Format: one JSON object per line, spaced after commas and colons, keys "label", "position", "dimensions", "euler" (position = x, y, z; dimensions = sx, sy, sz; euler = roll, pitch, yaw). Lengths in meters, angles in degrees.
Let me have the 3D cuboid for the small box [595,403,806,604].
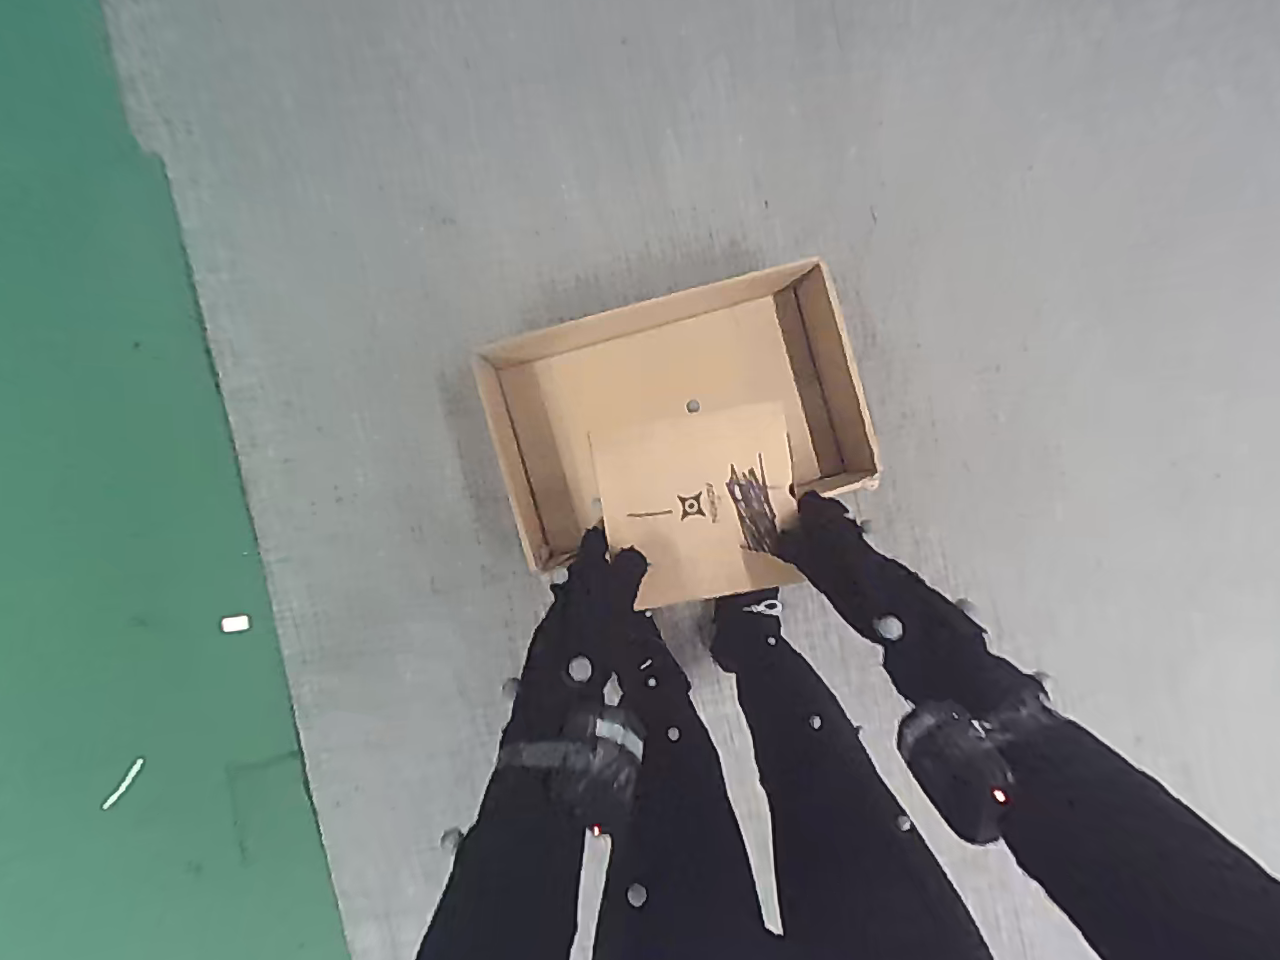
{"label": "small box", "position": [0.055, 0.016, 0.573], "dimensions": [0.179, 0.176, 0.168], "euler": [-10, 93, 1]}
